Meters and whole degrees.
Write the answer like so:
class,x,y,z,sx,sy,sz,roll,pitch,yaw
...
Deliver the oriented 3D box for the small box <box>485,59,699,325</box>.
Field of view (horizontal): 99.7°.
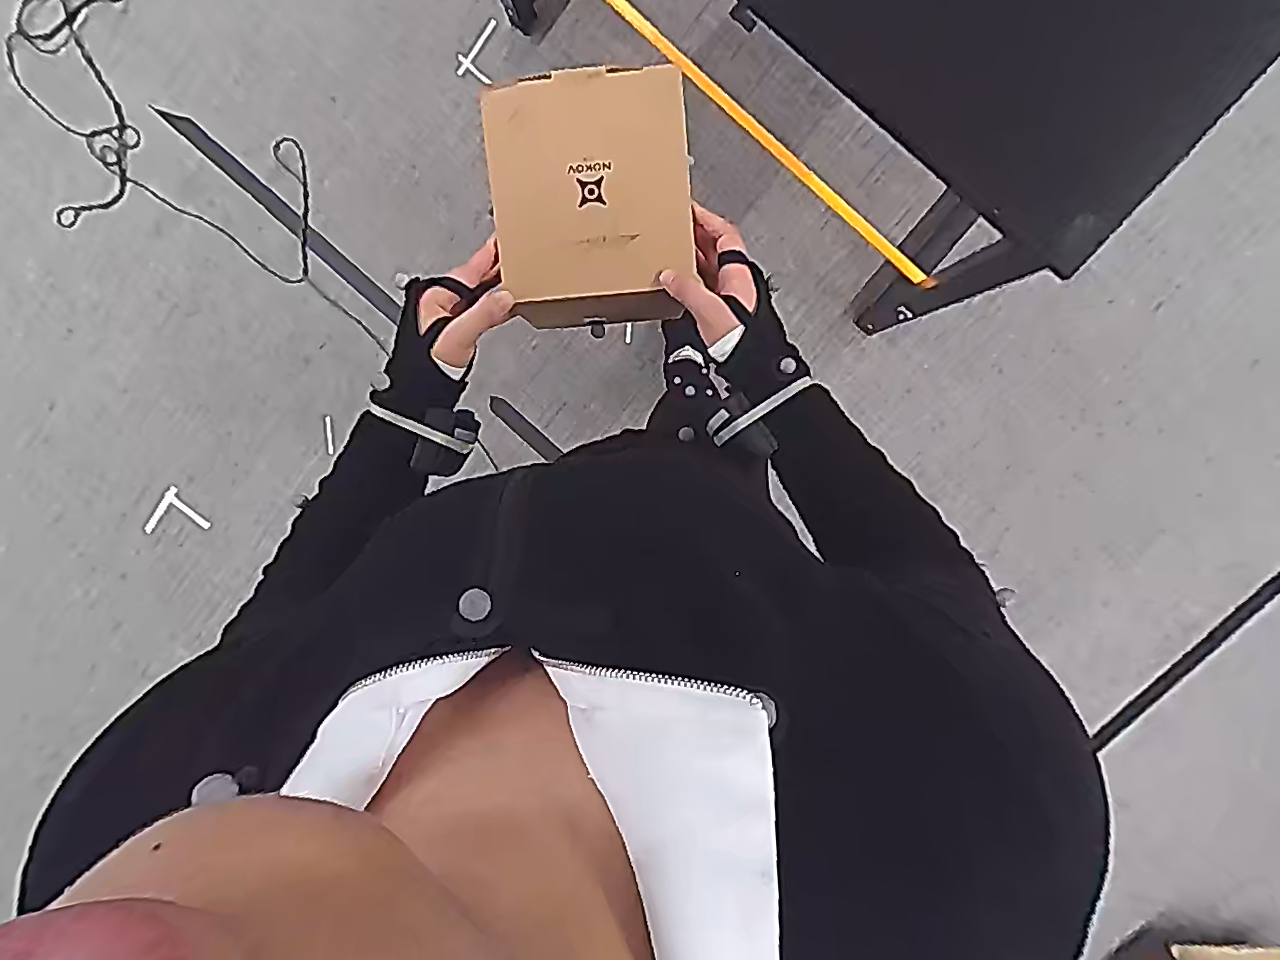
class,x,y,z,sx,sy,sz,roll,pitch,yaw
small box,-0.039,-0.256,0.523,0.168,0.176,0.179,-5,98,0
